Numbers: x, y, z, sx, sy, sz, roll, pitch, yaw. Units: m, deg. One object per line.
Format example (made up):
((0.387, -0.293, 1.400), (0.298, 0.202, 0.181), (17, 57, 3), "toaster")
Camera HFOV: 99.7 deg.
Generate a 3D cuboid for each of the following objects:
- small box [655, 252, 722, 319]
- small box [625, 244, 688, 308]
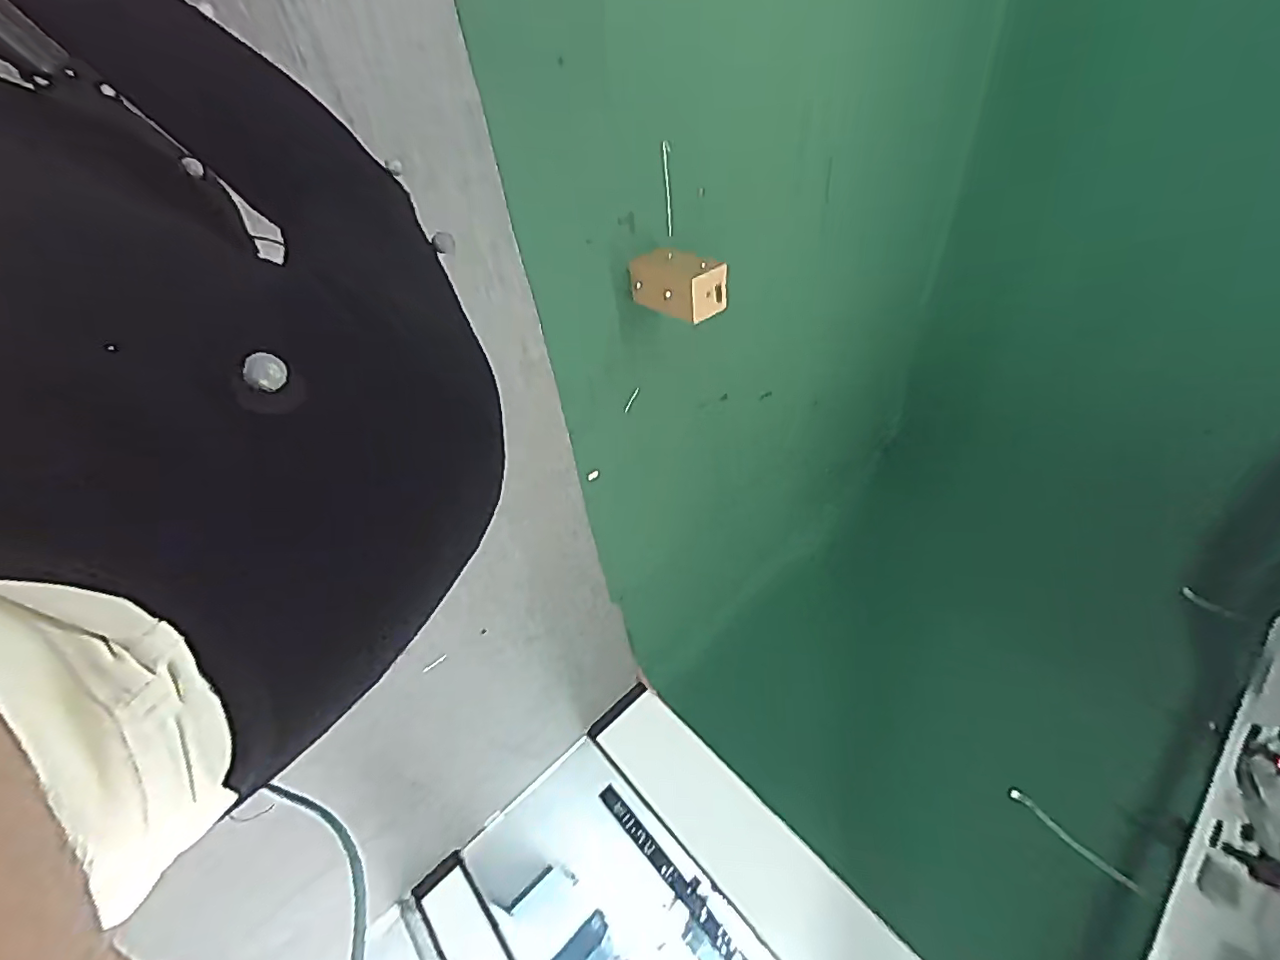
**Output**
((0.177, -0.711, 1.963), (0.179, 0.176, 0.168), (-34, 137, -26), "small box")
((0.067, -0.784, 2.061), (0.179, 0.176, 0.168), (-34, 137, -27), "small box")
